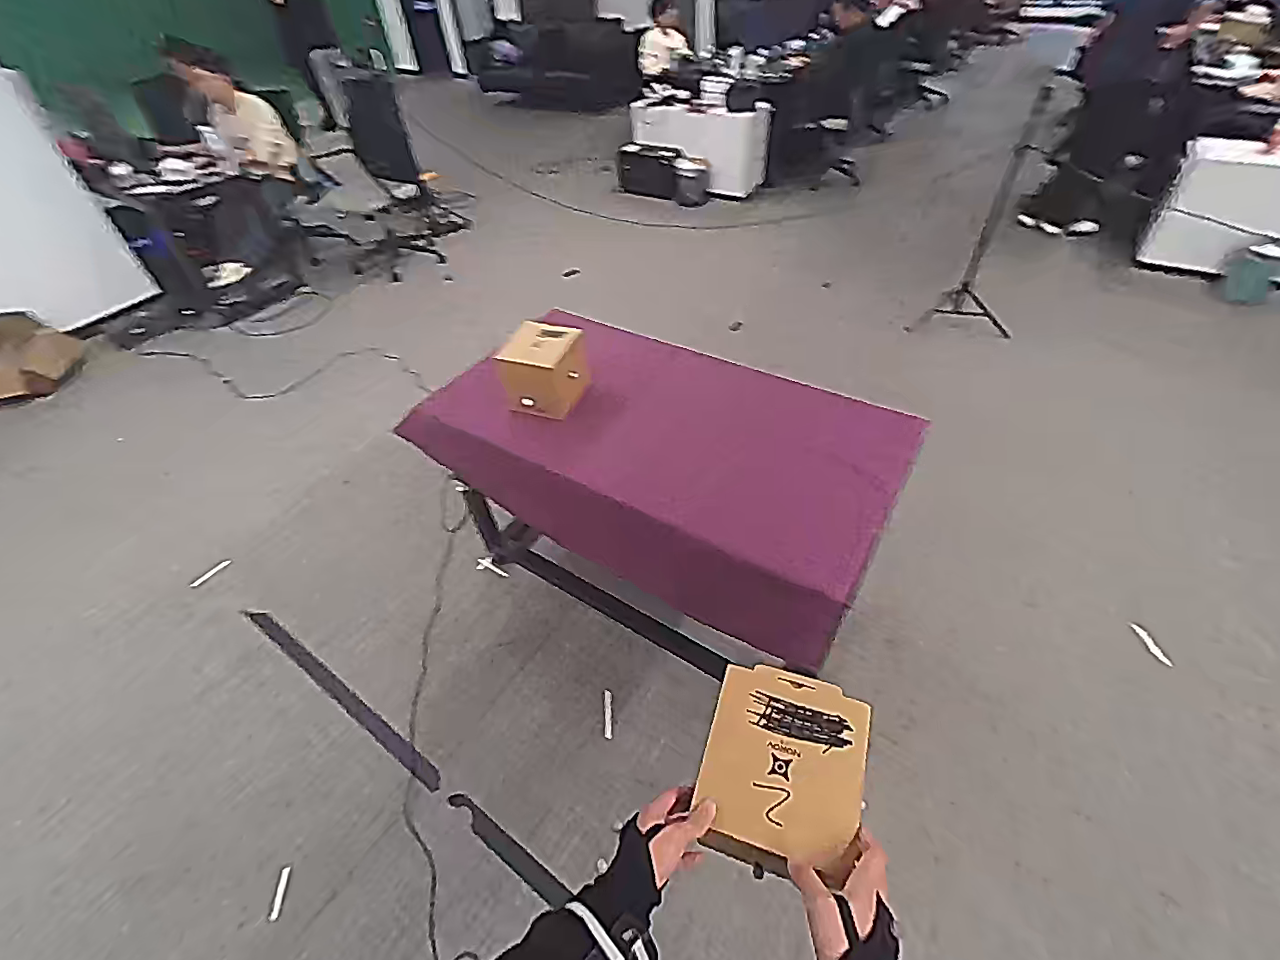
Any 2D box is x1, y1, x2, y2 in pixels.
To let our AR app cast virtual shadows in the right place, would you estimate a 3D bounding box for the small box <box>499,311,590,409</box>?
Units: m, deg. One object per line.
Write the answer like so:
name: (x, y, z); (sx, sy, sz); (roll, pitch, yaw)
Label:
small box: (-0.240, -0.314, 1.415); (0.168, 0.176, 0.179); (14, 50, 16)
